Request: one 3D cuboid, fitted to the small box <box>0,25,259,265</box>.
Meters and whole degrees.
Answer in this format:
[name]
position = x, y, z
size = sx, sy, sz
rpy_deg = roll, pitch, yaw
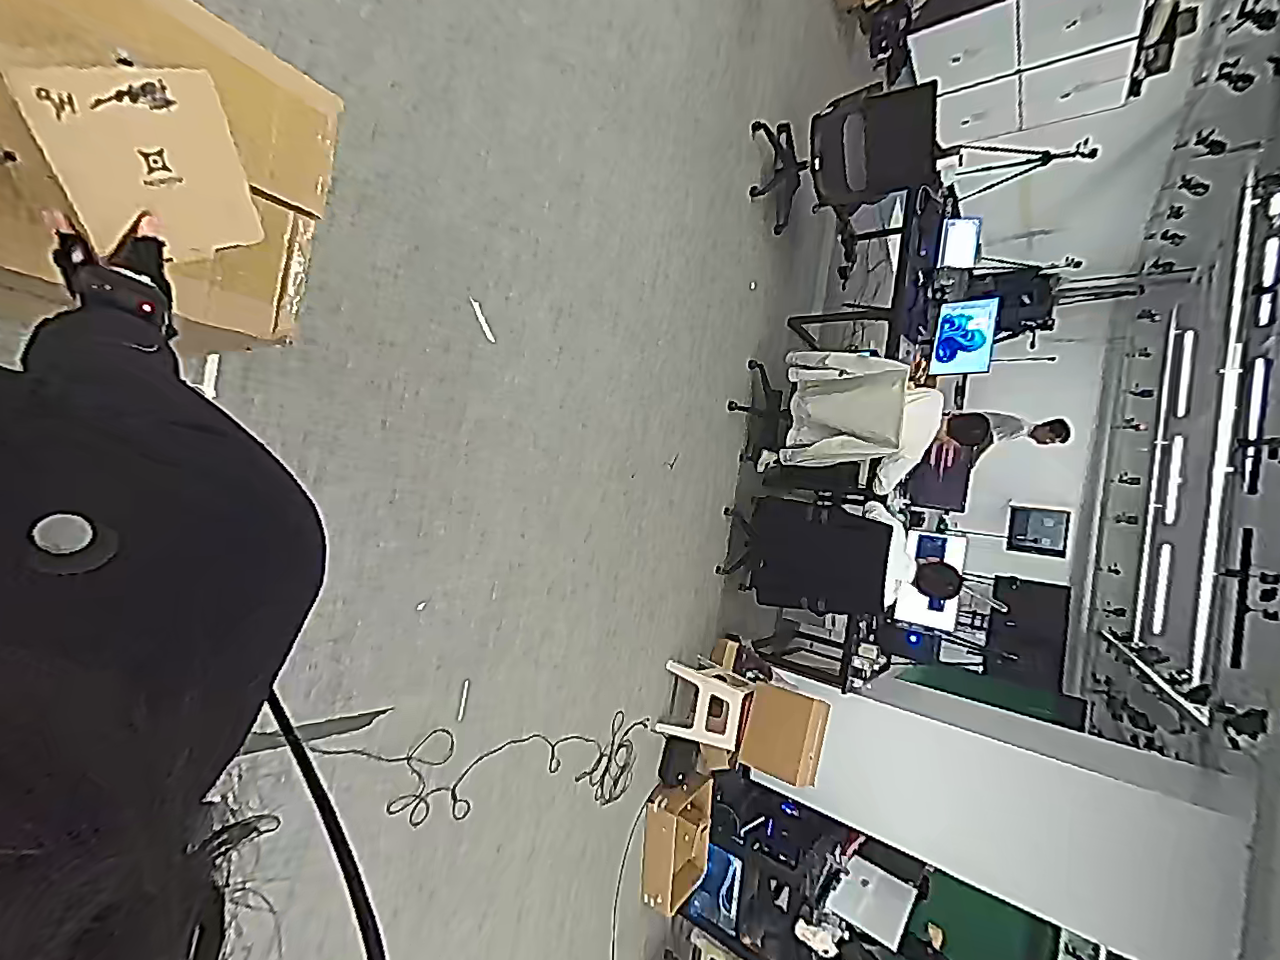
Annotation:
[small box]
position = -0.566, -0.362, 0.583
size = 0.168, 0.176, 0.179
rpy_deg = -42, 153, -41
